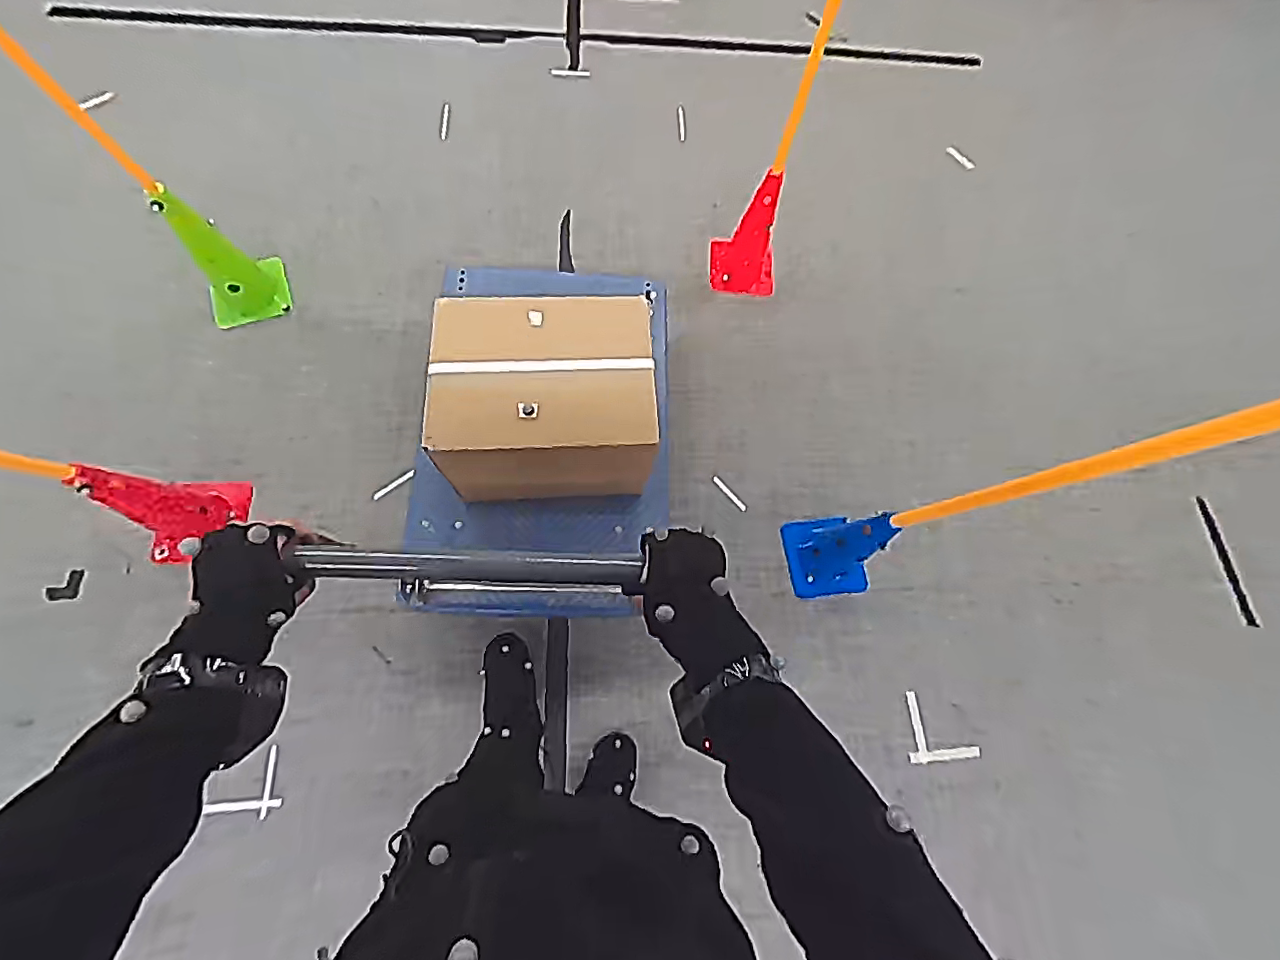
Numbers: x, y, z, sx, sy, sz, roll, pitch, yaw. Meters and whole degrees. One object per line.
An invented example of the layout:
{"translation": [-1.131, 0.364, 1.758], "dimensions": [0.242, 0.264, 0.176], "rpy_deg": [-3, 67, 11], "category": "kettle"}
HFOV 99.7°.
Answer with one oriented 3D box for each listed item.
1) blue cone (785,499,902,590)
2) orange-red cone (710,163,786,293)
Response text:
{"translation": [0.496, 0.129, 1.252], "dimensions": [0.193, 0.380, 0.192], "rpy_deg": [-4, 70, -7], "category": "blue cone"}
{"translation": [0.337, -0.726, 1.521], "dimensions": [0.199, 0.360, 0.198], "rpy_deg": [6, 71, -4], "category": "orange-red cone"}
